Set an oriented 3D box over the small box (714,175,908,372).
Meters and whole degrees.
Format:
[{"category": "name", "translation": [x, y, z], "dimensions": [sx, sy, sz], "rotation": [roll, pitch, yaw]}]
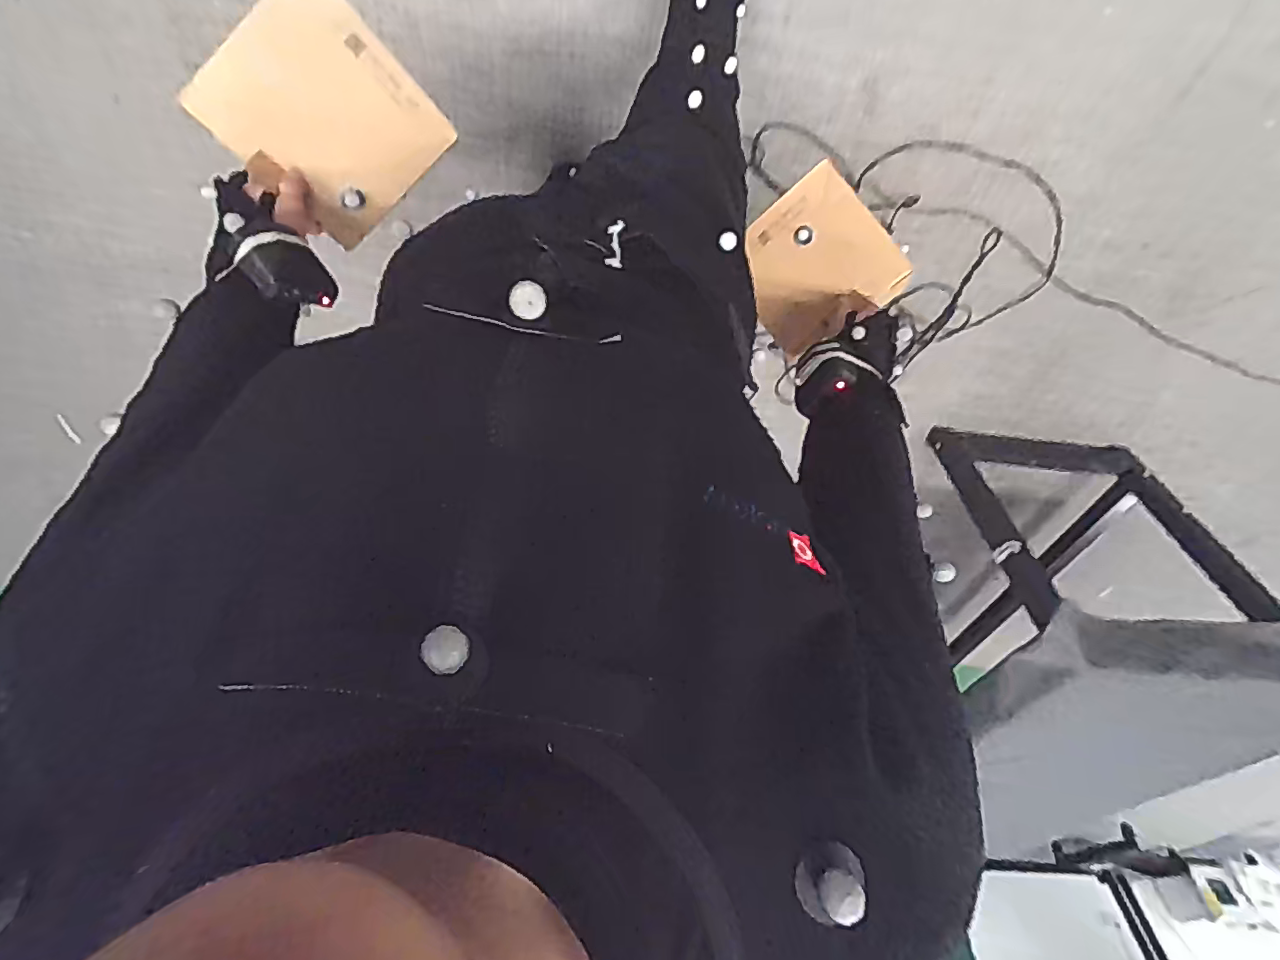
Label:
[{"category": "small box", "translation": [0.223, -0.263, 0.720], "dimensions": [0.168, 0.179, 0.176], "rotation": [-37, 86, 22]}]
